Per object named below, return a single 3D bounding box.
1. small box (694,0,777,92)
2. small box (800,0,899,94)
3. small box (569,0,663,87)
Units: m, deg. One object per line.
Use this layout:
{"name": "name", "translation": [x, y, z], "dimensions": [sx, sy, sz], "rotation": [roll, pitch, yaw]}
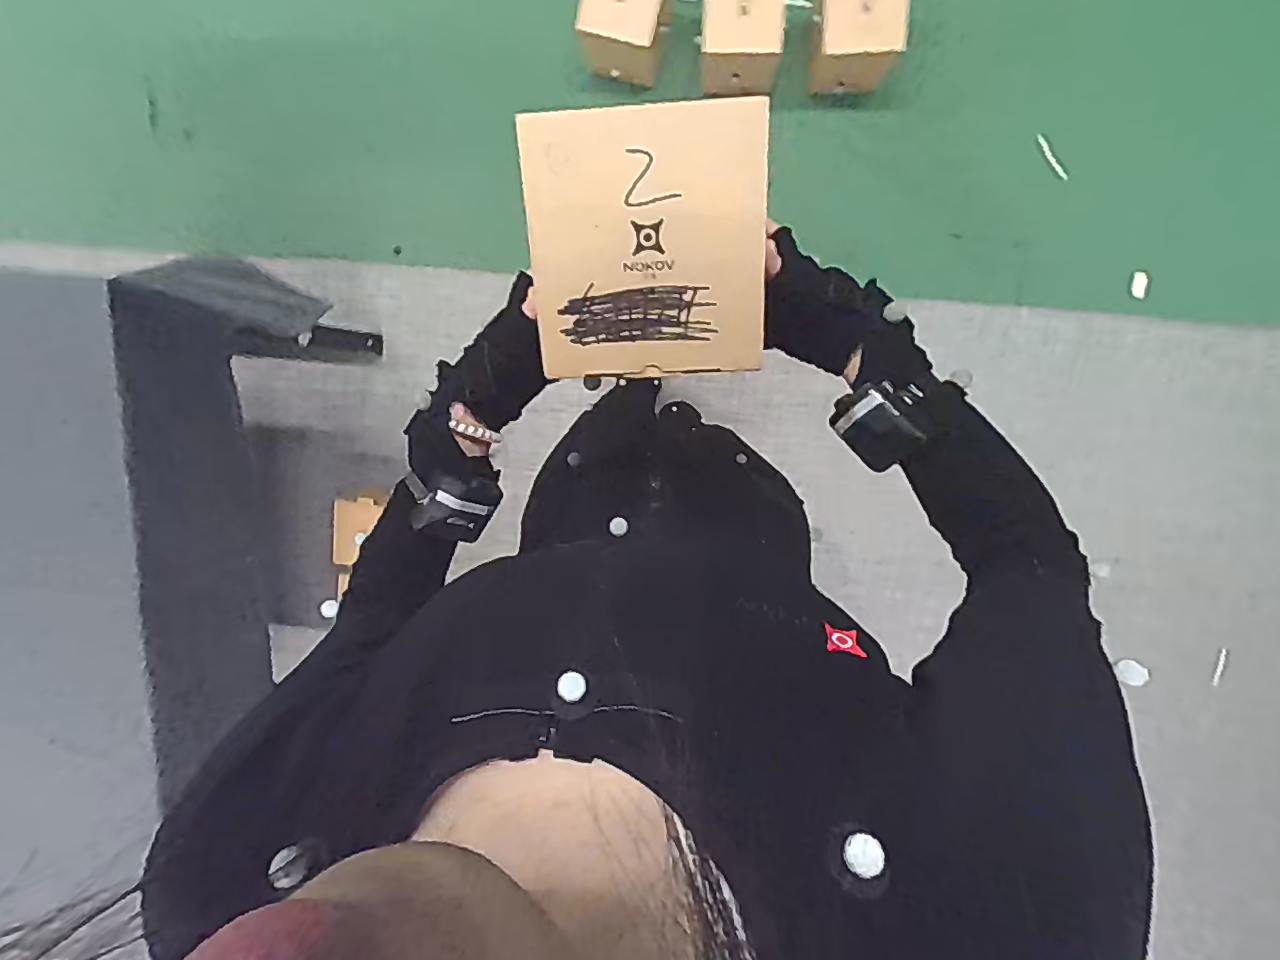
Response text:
{"name": "small box", "translation": [0.208, -1.002, 1.206], "dimensions": [0.168, 0.176, 0.179], "rotation": [3, 100, 3]}
{"name": "small box", "translation": [0.456, -0.994, 1.193], "dimensions": [0.168, 0.176, 0.179], "rotation": [0, 100, 4]}
{"name": "small box", "translation": [-0.047, -1.041, 1.218], "dimensions": [0.168, 0.176, 0.179], "rotation": [16, 101, 2]}
